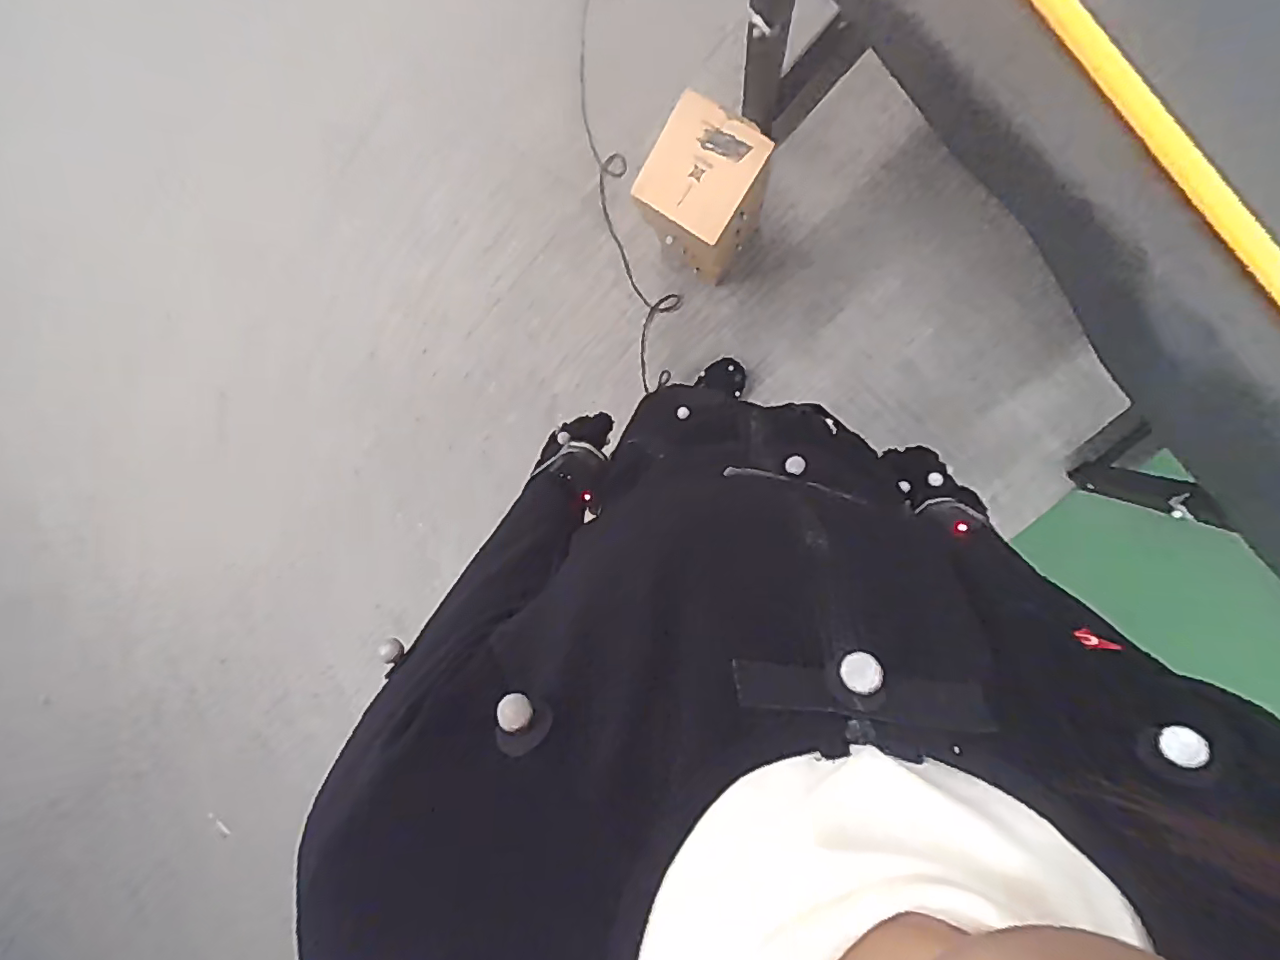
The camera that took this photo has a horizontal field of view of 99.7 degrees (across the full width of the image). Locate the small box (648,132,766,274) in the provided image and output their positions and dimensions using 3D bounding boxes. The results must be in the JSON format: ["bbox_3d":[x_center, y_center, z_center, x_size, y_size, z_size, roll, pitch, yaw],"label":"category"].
[{"bbox_3d":[0.139,-0.545,1.093,0.168,0.176,0.179,31,102,4],"label":"small box"}]
